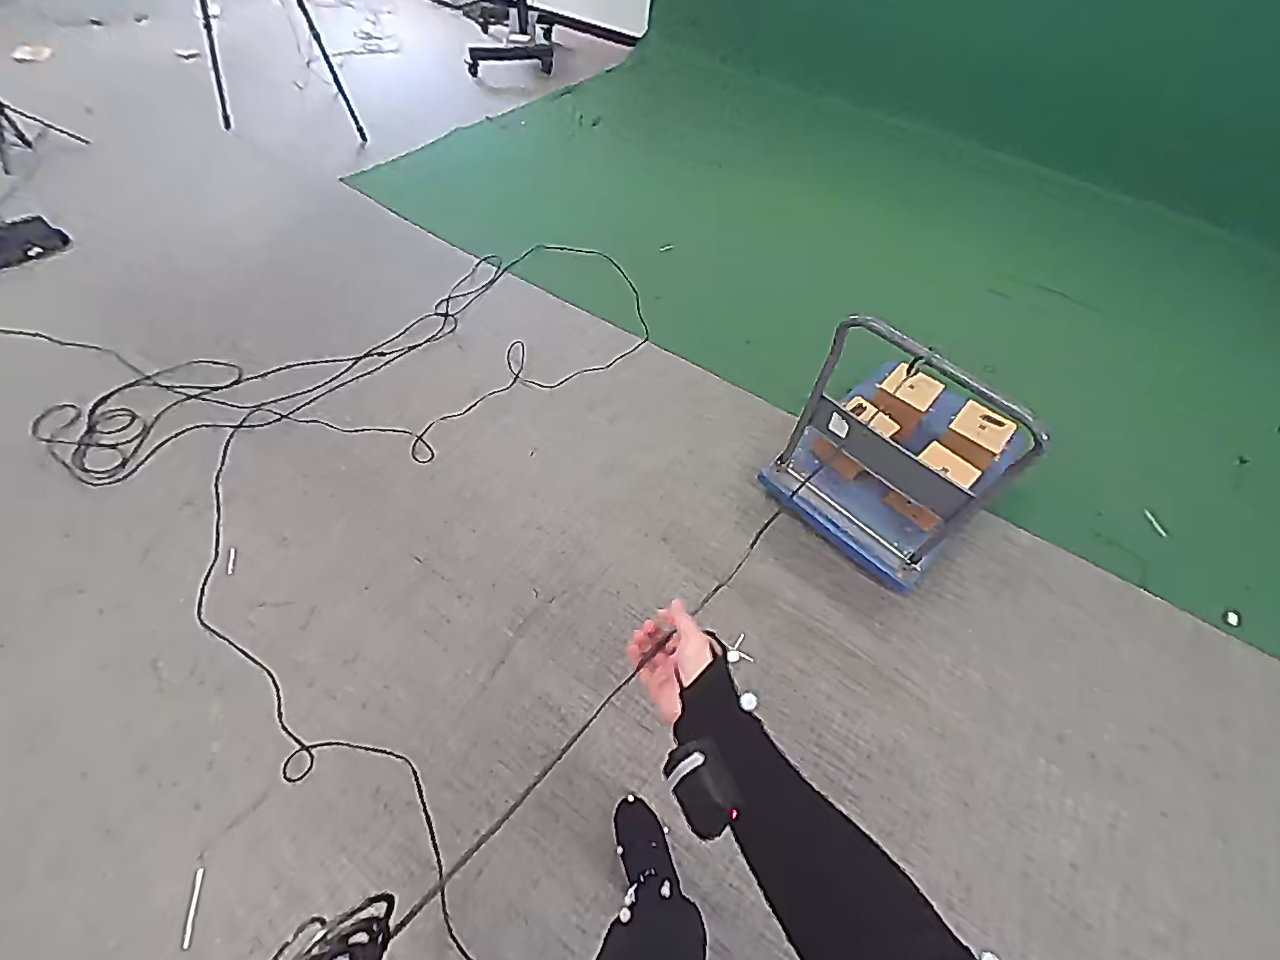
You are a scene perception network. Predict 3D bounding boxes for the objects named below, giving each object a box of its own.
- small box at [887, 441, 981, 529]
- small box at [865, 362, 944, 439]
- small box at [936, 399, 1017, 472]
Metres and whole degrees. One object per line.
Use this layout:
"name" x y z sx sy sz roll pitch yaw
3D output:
"small box" 0.911 0.017 1.694 0.179 0.176 0.168 -36 64 -25
"small box" 0.920 -0.274 1.900 0.168 0.176 0.179 39 61 20
"small box" 1.106 -0.131 1.811 0.168 0.176 0.179 38 61 22
